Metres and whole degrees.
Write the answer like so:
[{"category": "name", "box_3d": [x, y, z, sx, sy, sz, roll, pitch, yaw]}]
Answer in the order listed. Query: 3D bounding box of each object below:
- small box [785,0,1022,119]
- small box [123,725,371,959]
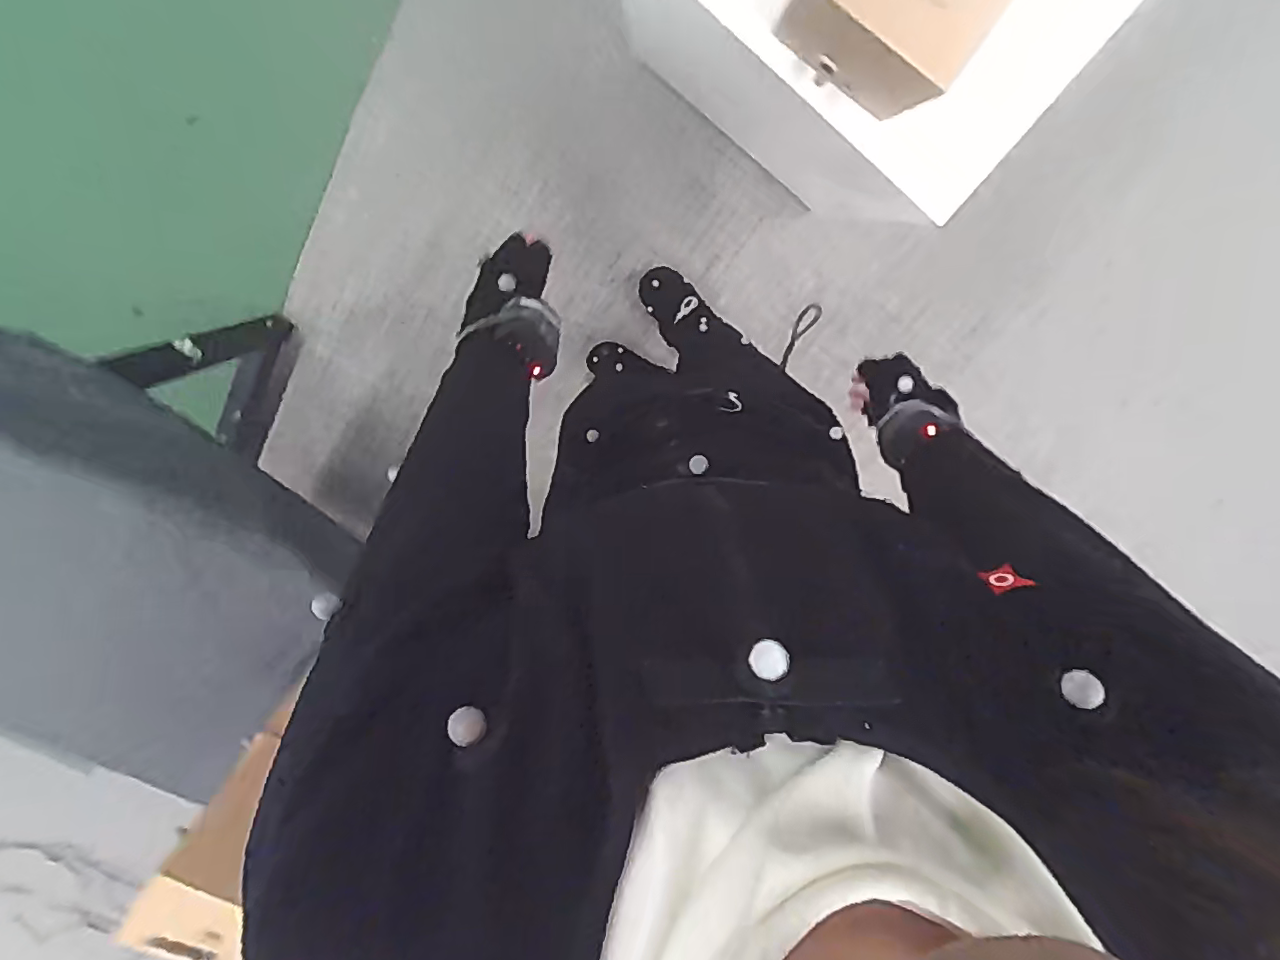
[{"category": "small box", "box_3d": [0.255, -0.478, 0.501, 0.168, 0.176, 0.179, 30, 115, -9]}, {"category": "small box", "box_3d": [-0.468, 0.445, 0.666, 0.168, 0.176, 0.179, 34, 116, -11]}]
